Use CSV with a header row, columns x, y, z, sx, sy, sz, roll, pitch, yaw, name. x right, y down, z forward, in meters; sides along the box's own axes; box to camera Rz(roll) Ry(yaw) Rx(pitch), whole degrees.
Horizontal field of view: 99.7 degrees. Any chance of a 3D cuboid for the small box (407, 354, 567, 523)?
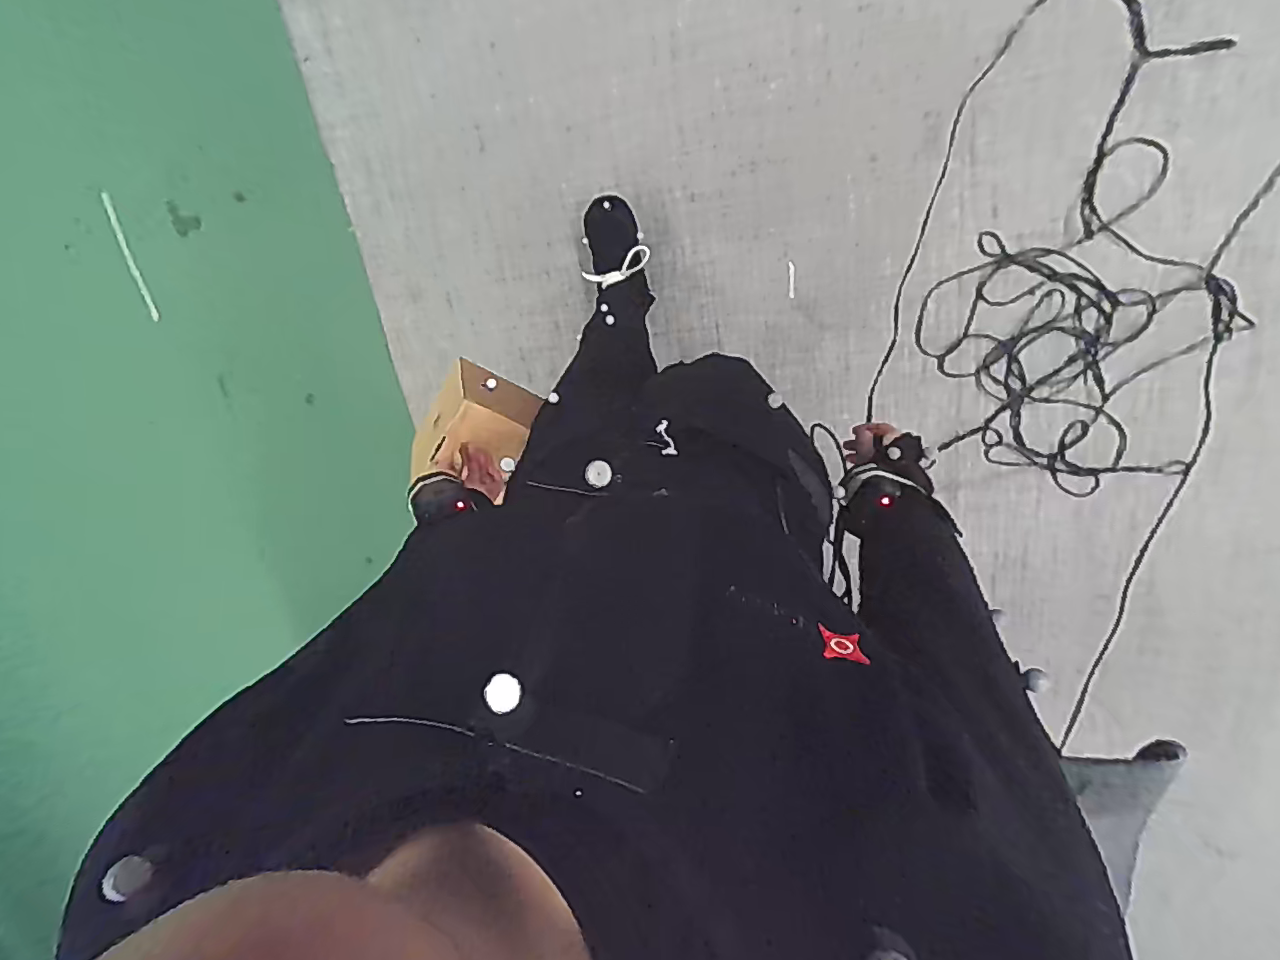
x,y,z,sx,sy,sz,roll,pitch,yaw,name
-0.234,-0.060,0.832,0.176,0.179,0.168,27,108,-32,small box
